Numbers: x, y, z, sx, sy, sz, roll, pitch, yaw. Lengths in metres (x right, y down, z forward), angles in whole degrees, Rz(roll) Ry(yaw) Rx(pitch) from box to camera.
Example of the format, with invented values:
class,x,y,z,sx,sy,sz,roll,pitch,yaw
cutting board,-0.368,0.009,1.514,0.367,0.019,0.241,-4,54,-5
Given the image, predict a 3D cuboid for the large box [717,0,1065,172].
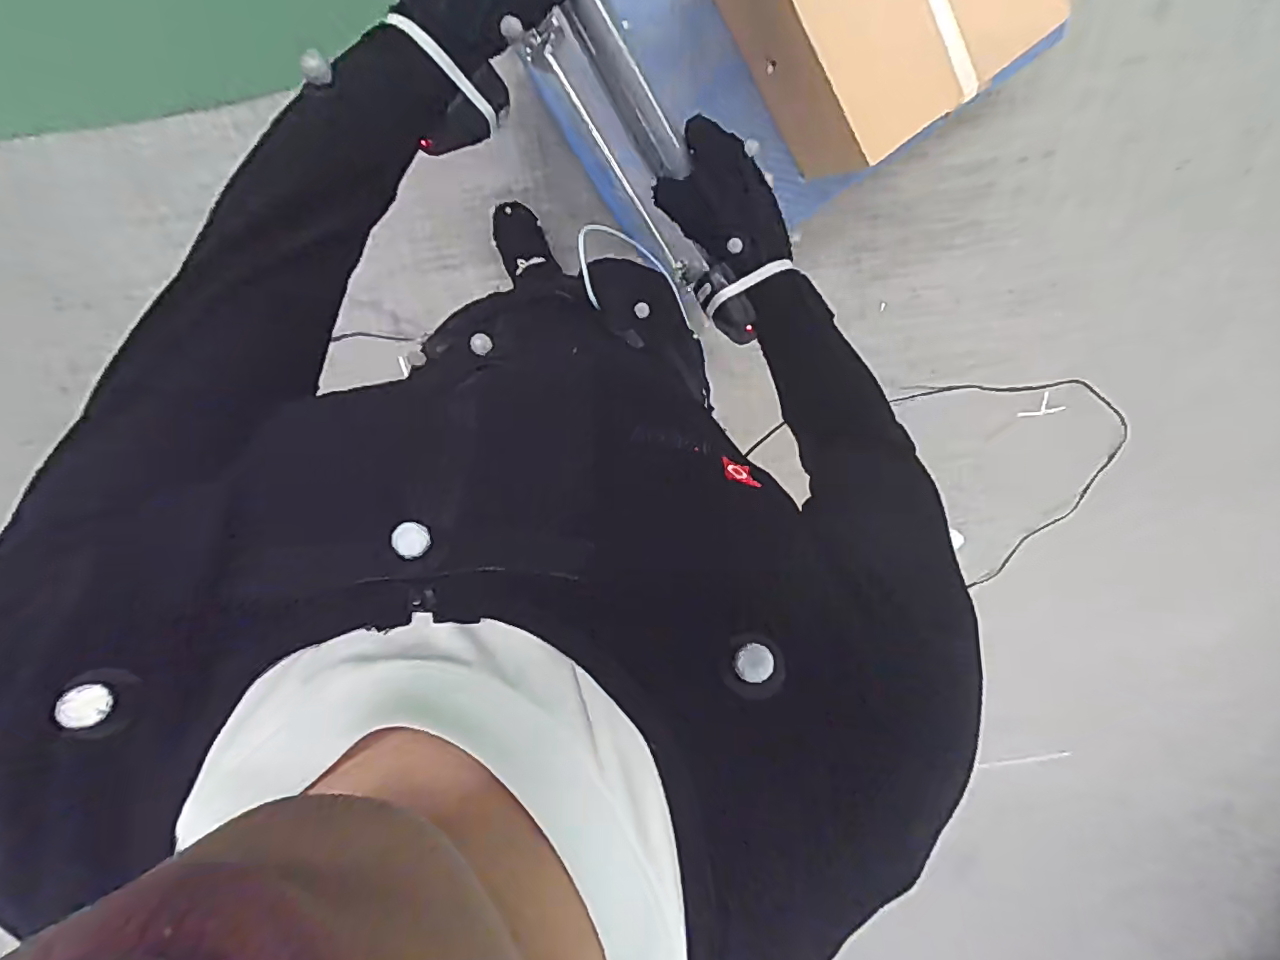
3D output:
class,x,y,z,sx,sy,sz,roll,pitch,yaw
large box,0.345,-0.770,0.843,0.320,0.320,0.408,-34,112,13
